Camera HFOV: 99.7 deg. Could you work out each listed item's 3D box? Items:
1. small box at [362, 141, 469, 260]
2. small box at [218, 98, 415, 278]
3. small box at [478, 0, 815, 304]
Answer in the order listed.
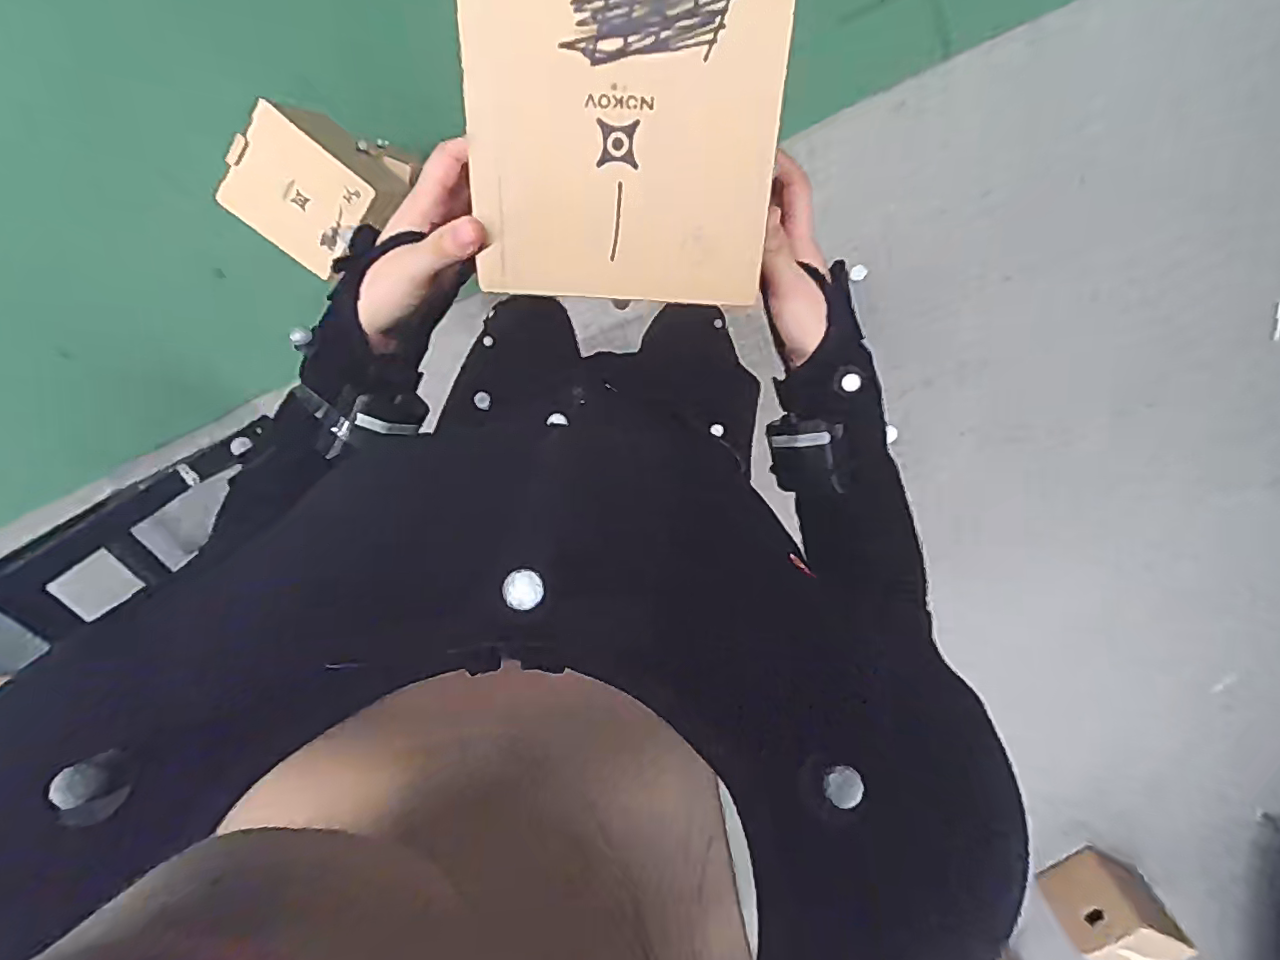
[{"bbox_3d":[-0.482,-0.591,1.145,0.179,0.176,0.168,20,116,-10],"label":"small box"},{"bbox_3d":[-0.493,-0.448,0.849,0.179,0.176,0.168,37,112,-18],"label":"small box"},{"bbox_3d":[0.003,-0.216,0.353,0.168,0.176,0.179,3,114,2],"label":"small box"}]
